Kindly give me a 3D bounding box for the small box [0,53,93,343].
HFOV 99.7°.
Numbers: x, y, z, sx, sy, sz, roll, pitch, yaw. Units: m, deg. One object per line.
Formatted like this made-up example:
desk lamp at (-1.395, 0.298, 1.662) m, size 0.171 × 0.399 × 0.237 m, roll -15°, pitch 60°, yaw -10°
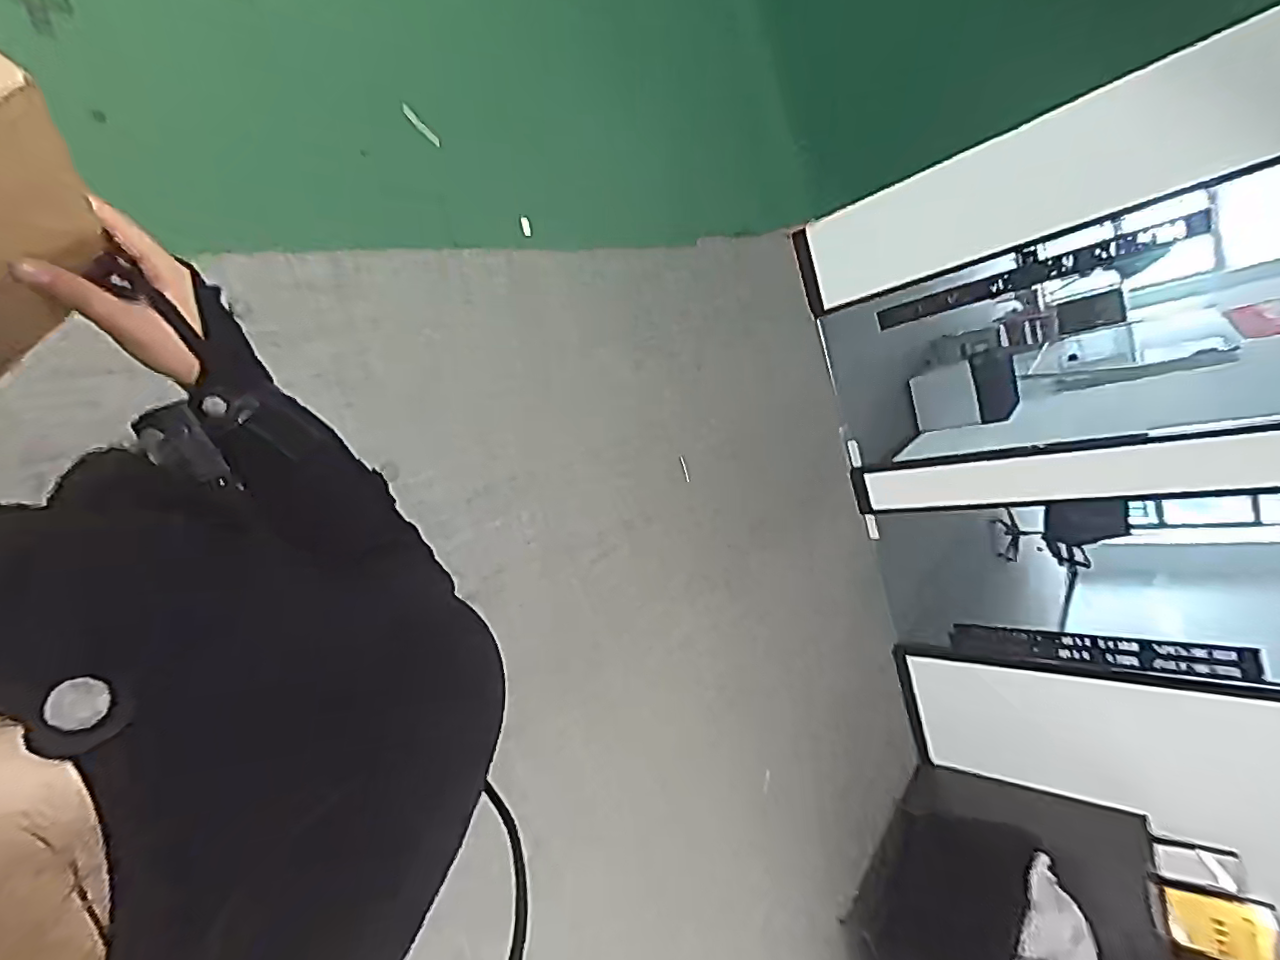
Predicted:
small box at (-0.405, -0.138, 0.235) m, size 0.168 × 0.176 × 0.179 m, roll 34°, pitch 64°, yaw -24°
